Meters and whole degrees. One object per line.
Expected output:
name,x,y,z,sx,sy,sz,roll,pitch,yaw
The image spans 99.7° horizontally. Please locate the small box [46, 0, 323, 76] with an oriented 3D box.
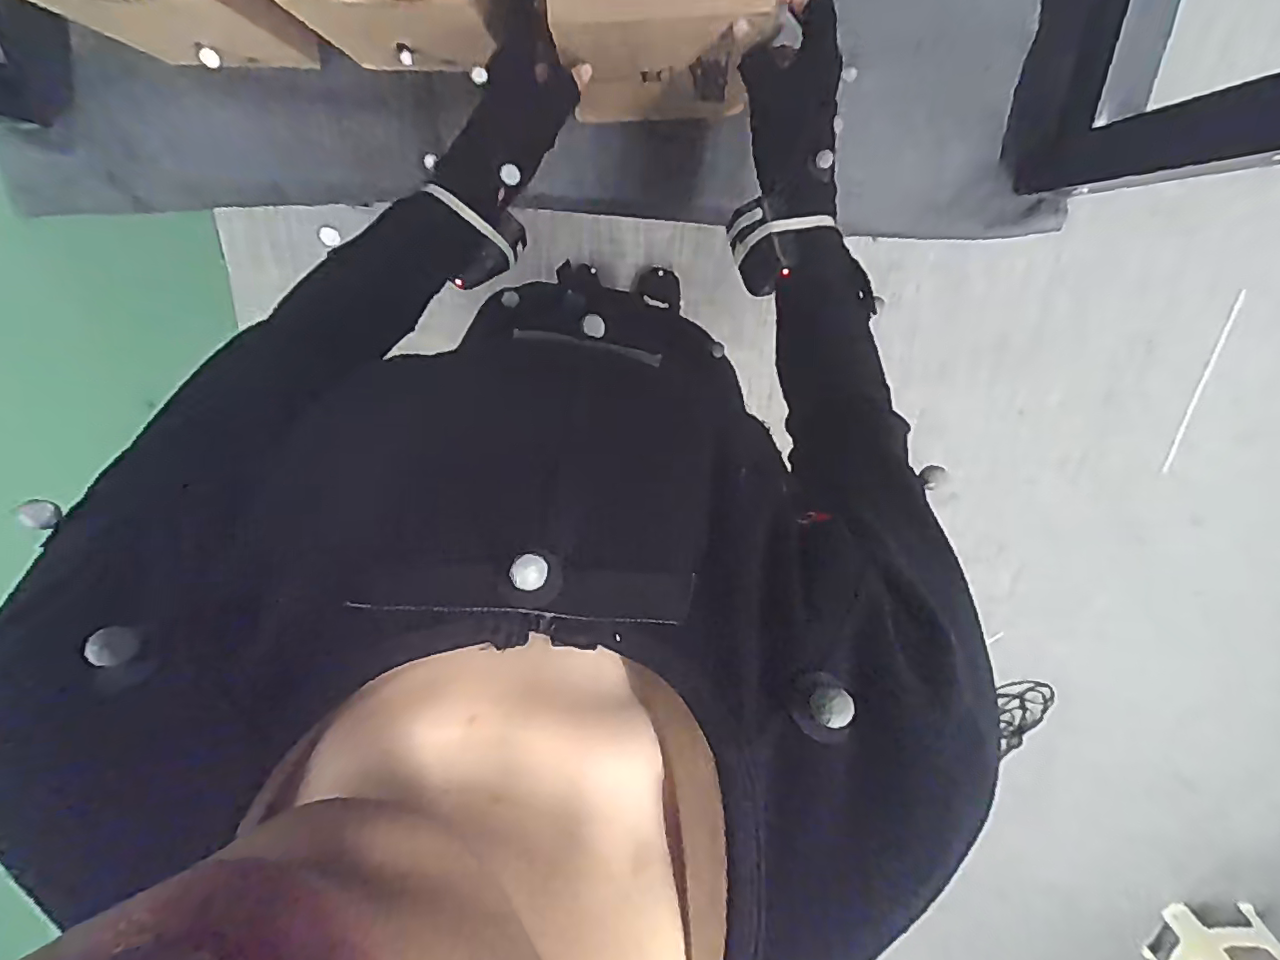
small box,-0.415,-0.491,0.474,0.168,0.176,0.179,1,111,0
